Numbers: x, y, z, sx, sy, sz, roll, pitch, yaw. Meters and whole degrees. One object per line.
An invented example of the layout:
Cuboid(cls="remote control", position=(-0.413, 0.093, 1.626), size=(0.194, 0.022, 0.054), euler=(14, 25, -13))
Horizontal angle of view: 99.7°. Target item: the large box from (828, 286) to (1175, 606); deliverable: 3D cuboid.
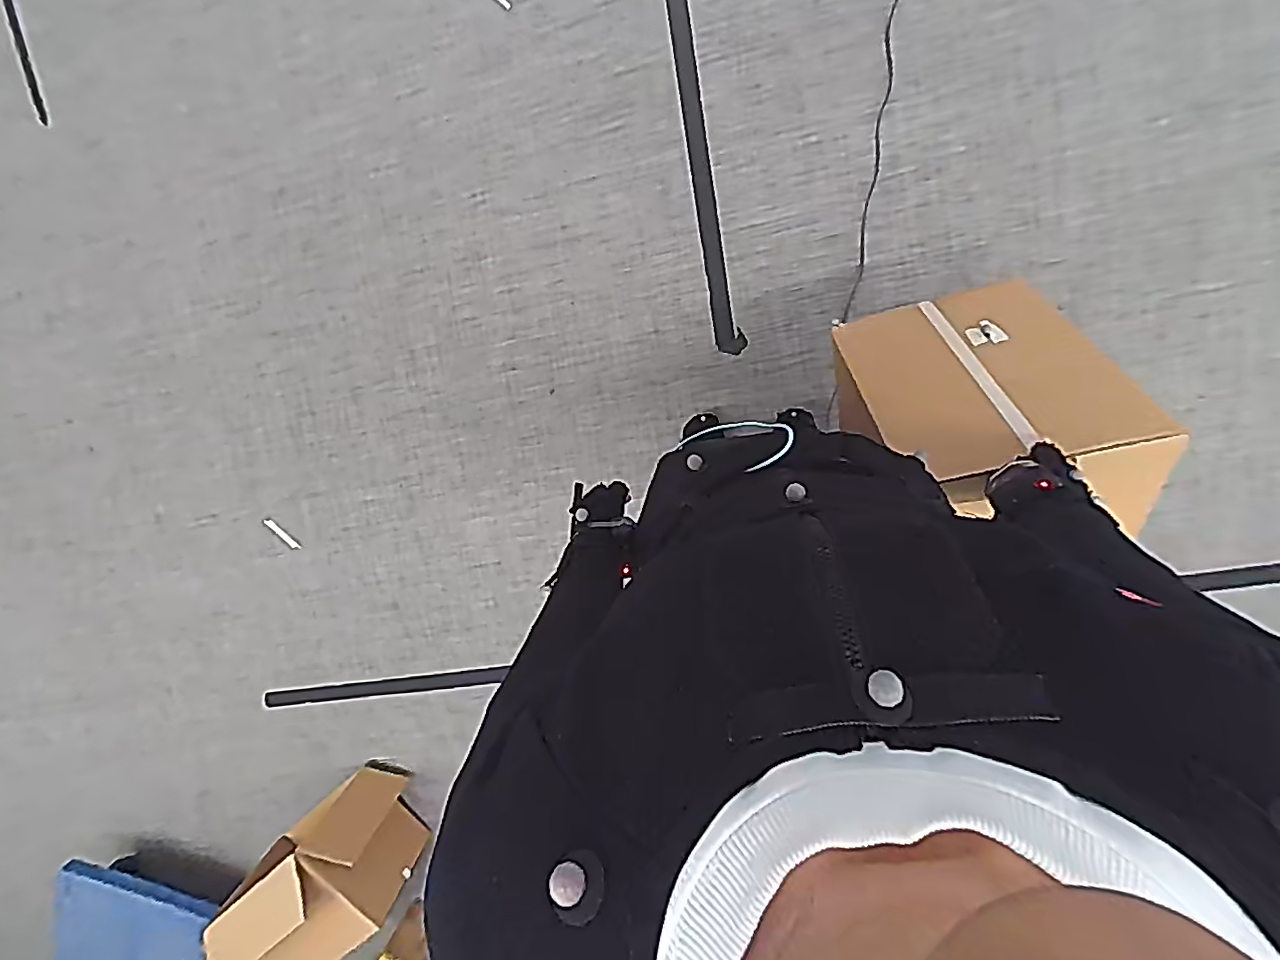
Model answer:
Cuboid(cls="large box", position=(0.538, -0.059, 0.912), size=(0.320, 0.408, 0.320), euler=(-13, 133, 11))
